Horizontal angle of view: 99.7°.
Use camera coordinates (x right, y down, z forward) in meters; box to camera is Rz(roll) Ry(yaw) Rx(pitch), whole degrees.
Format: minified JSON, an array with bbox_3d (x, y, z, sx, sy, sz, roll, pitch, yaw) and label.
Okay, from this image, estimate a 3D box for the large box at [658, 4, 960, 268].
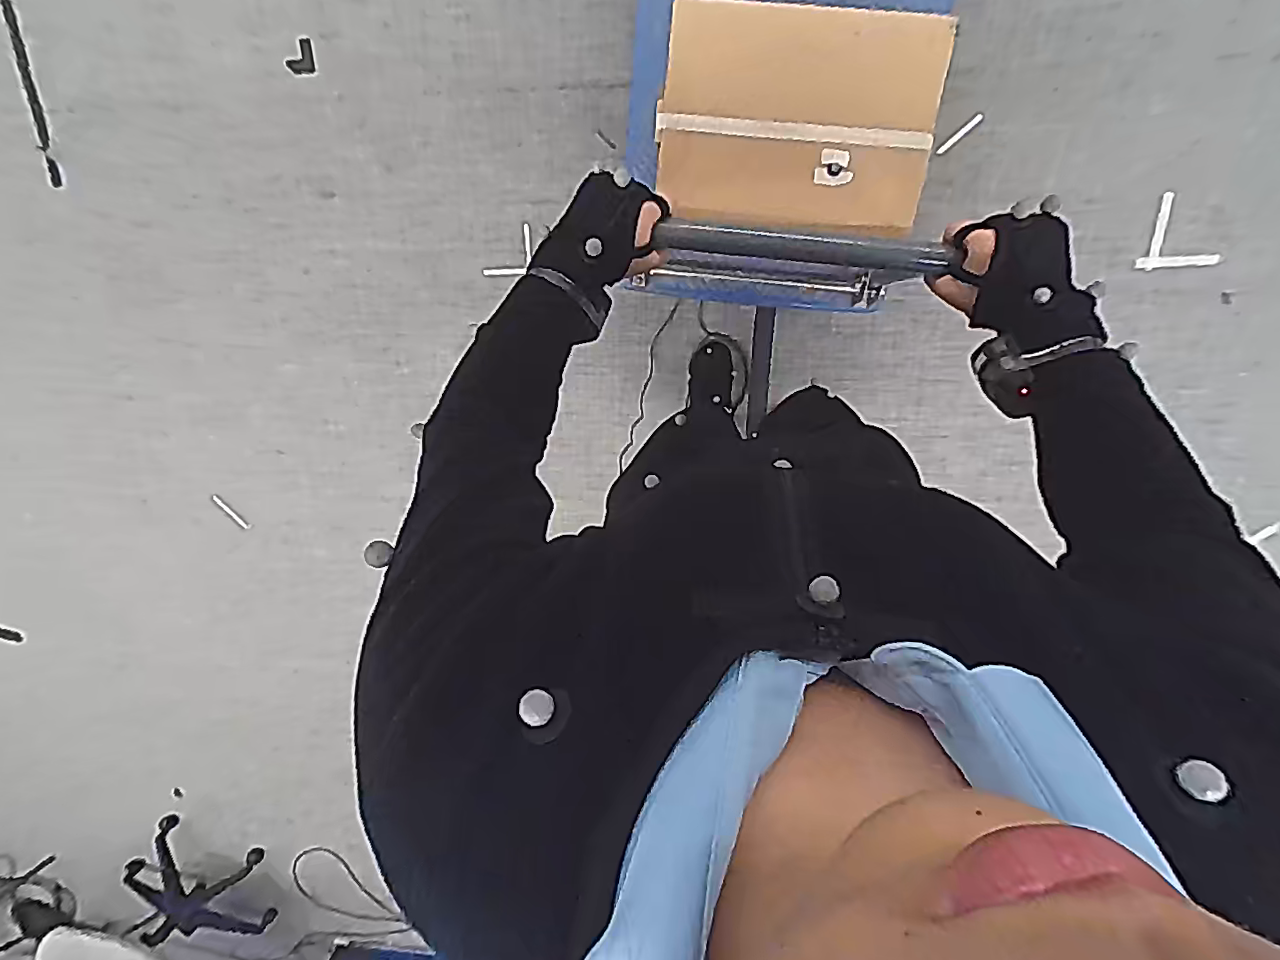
[{"bbox_3d":[0.246,-0.558,0.946,0.408,0.320,0.320,6,110,2],"label":"large box"}]
